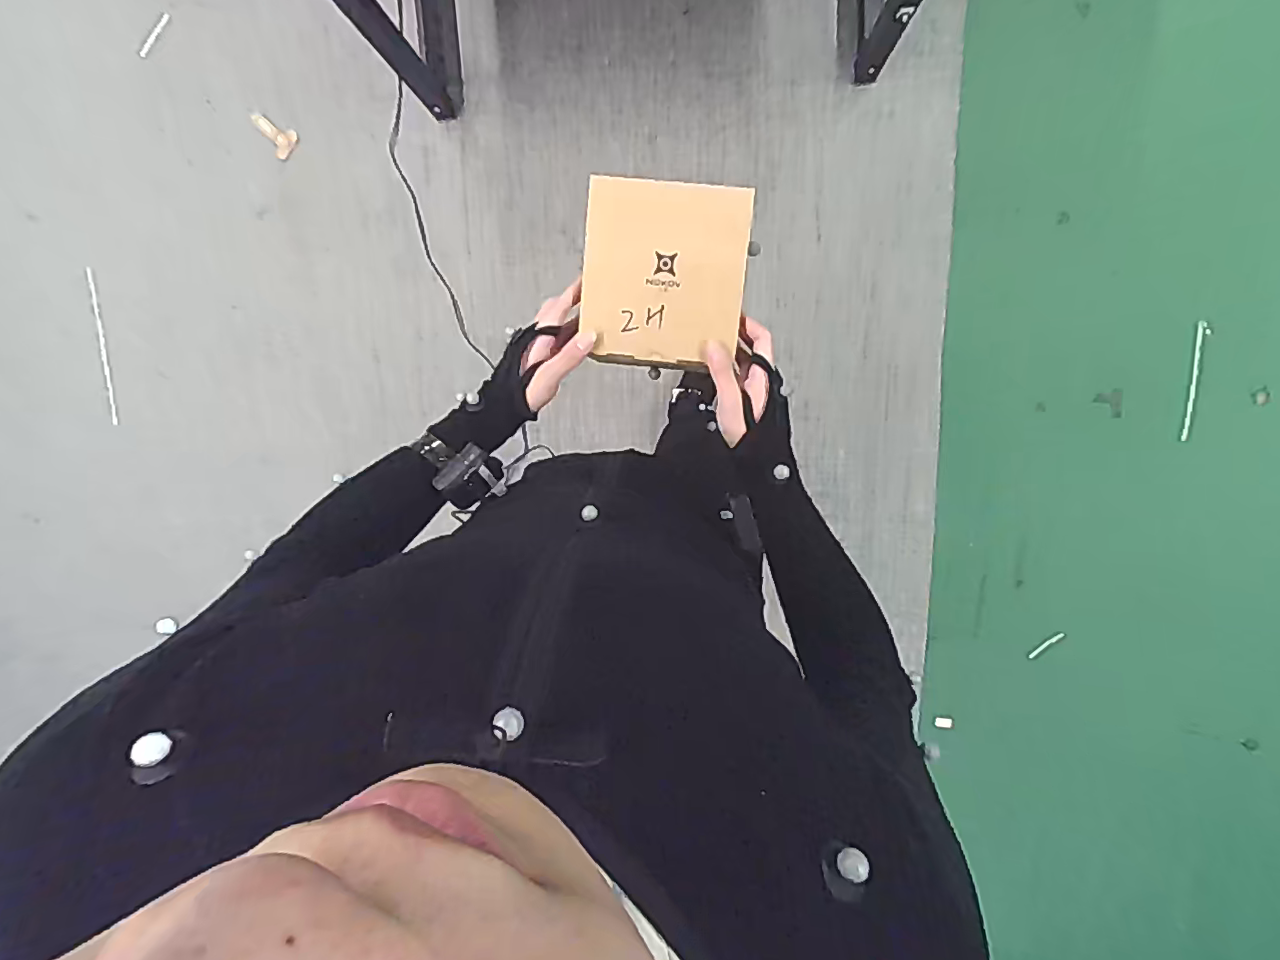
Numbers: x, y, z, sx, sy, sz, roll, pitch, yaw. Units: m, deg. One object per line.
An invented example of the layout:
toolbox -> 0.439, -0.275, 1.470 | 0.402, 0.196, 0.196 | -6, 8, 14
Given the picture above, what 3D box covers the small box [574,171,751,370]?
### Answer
small box -> 0.024, -0.227, 0.628 | 0.168, 0.176, 0.179 | 6, 100, 2
